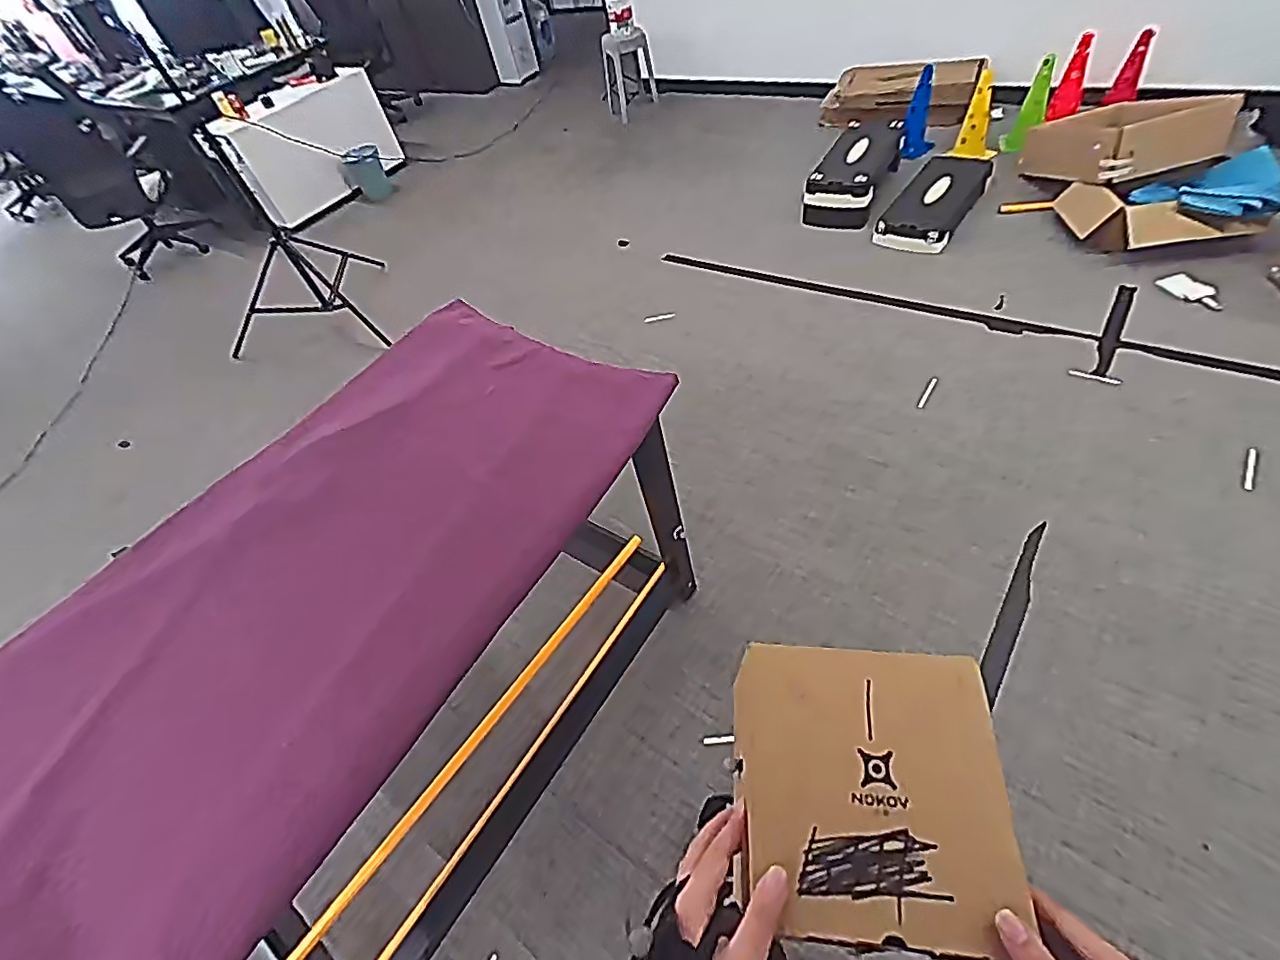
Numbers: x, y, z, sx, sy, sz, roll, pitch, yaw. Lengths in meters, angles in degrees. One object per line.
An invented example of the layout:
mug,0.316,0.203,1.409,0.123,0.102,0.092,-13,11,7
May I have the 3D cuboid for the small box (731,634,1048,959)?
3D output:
small box,0.161,0.234,0.418,0.168,0.176,0.179,3,58,6
